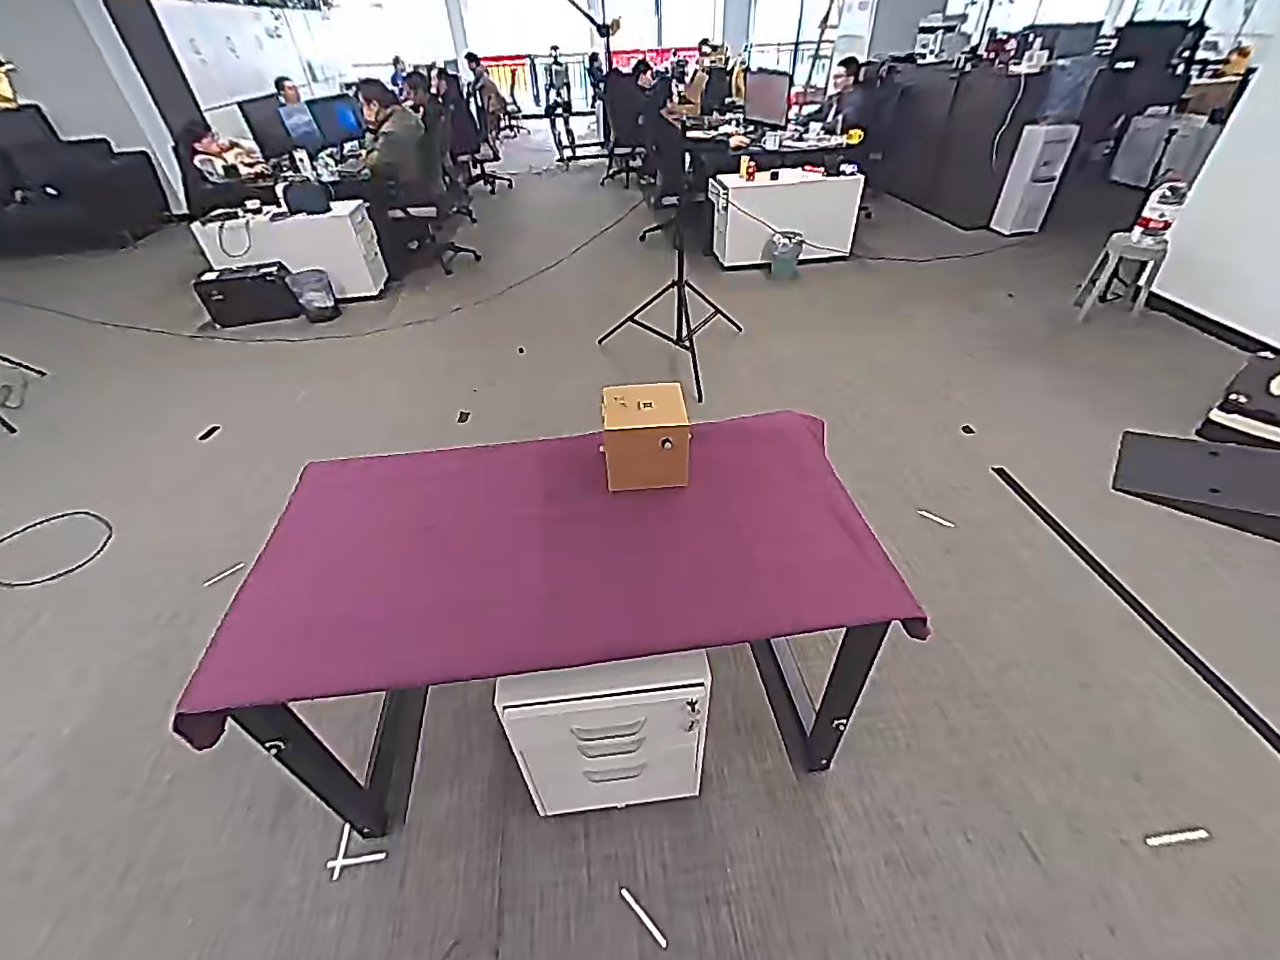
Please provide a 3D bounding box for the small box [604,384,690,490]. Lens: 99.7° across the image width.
[{"bbox_3d":[0.013,-0.093,1.197,0.179,0.176,0.168,-4,41,-1],"label":"small box"}]
